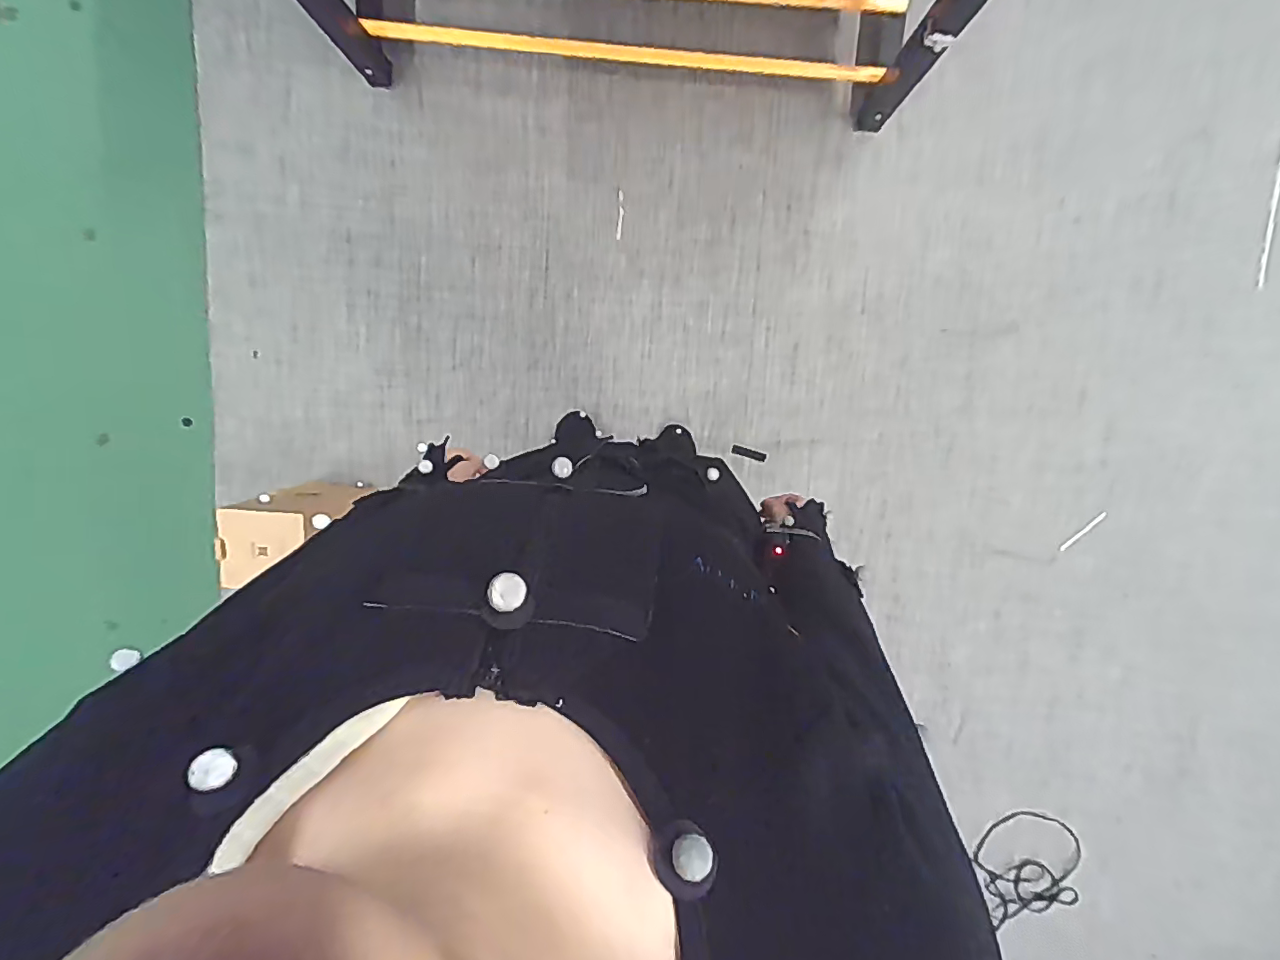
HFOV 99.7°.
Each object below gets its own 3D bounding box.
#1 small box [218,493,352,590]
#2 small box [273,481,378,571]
[{"bbox_3d":[-0.741,0.123,1.145,0.179,0.176,0.168,3,99,0],"label":"small box"},{"bbox_3d":[-0.754,0.104,1.307,0.168,0.176,0.179,6,99,0],"label":"small box"}]
